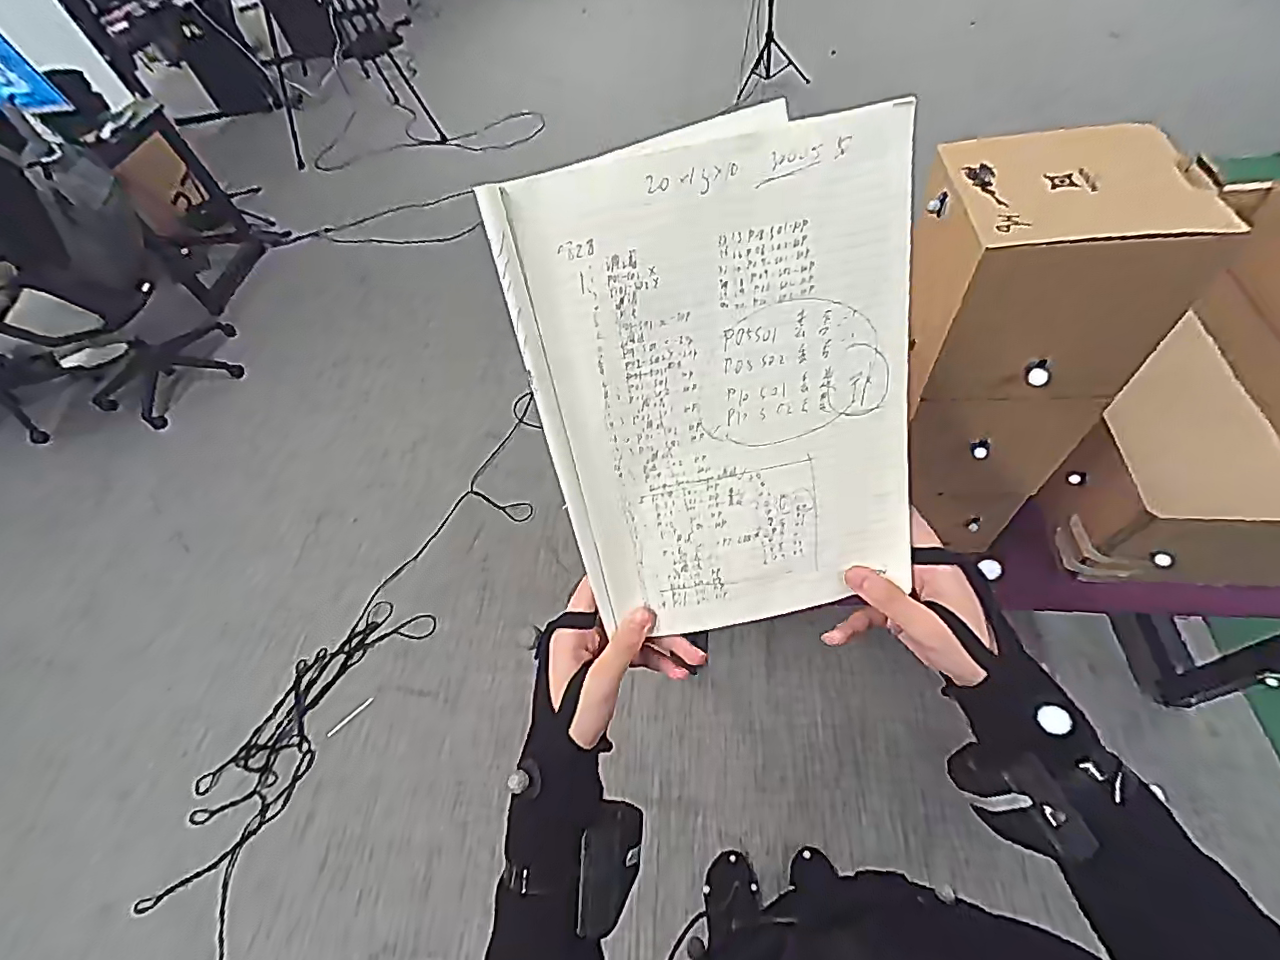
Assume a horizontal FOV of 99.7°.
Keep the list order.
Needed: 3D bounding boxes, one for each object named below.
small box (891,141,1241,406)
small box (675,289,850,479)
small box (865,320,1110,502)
[{"bbox_3d":[0.356,-0.182,0.501,0.179,0.176,0.168,1,53,9],"label":"small box"},{"bbox_3d":[0.158,-0.120,0.699,0.179,0.176,0.168,10,57,18],"label":"small box"},{"bbox_3d":[0.380,-0.086,0.633,0.179,0.176,0.168,0,54,10],"label":"small box"}]
